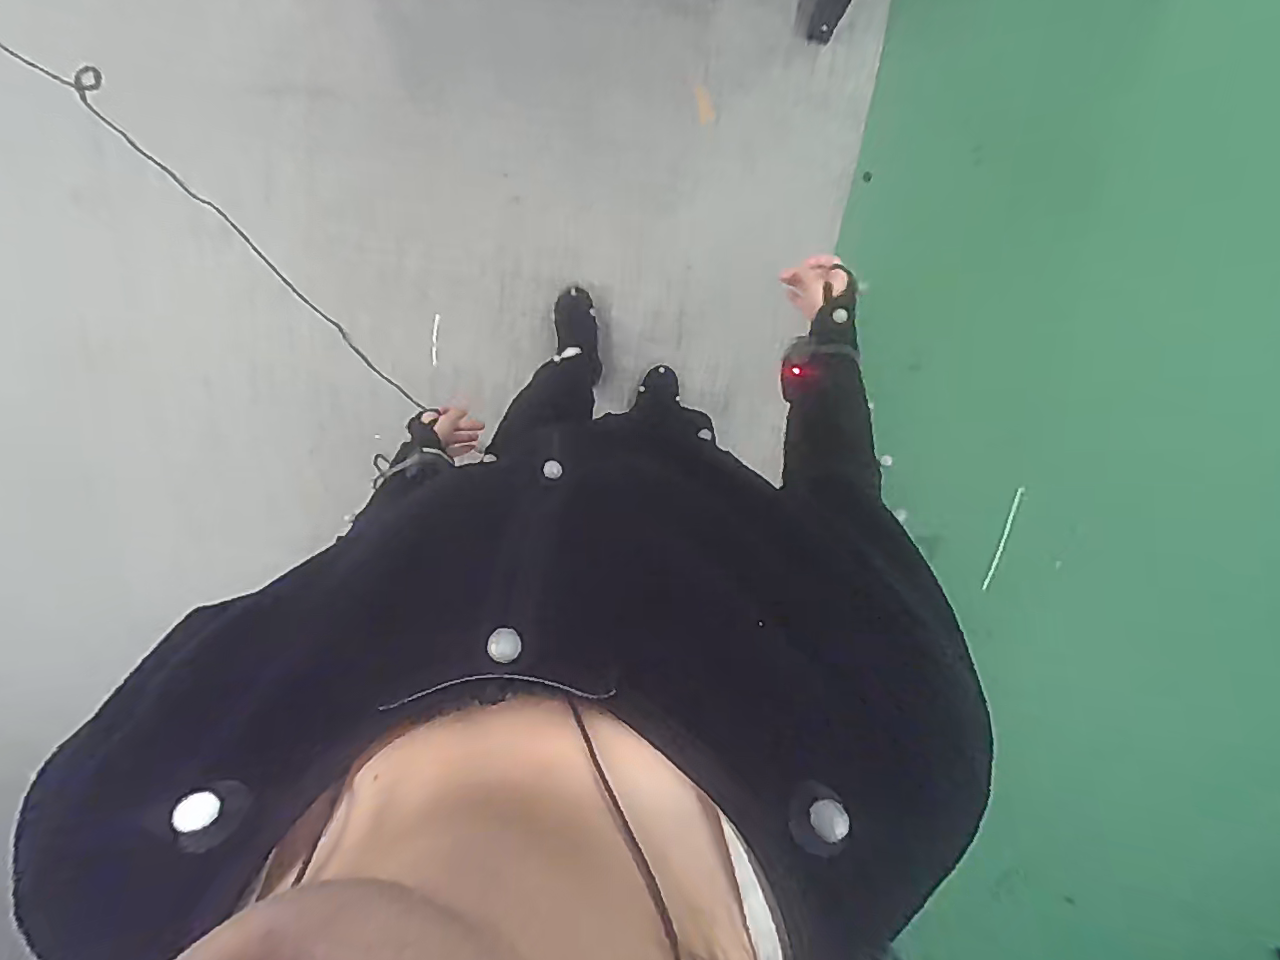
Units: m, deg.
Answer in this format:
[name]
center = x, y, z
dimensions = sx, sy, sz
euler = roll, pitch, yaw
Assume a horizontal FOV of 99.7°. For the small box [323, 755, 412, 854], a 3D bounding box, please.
[small box]
center = -0.850, 1.016, 1.703
dimensions = 0.168, 0.176, 0.179
euler = 27, 104, -6
